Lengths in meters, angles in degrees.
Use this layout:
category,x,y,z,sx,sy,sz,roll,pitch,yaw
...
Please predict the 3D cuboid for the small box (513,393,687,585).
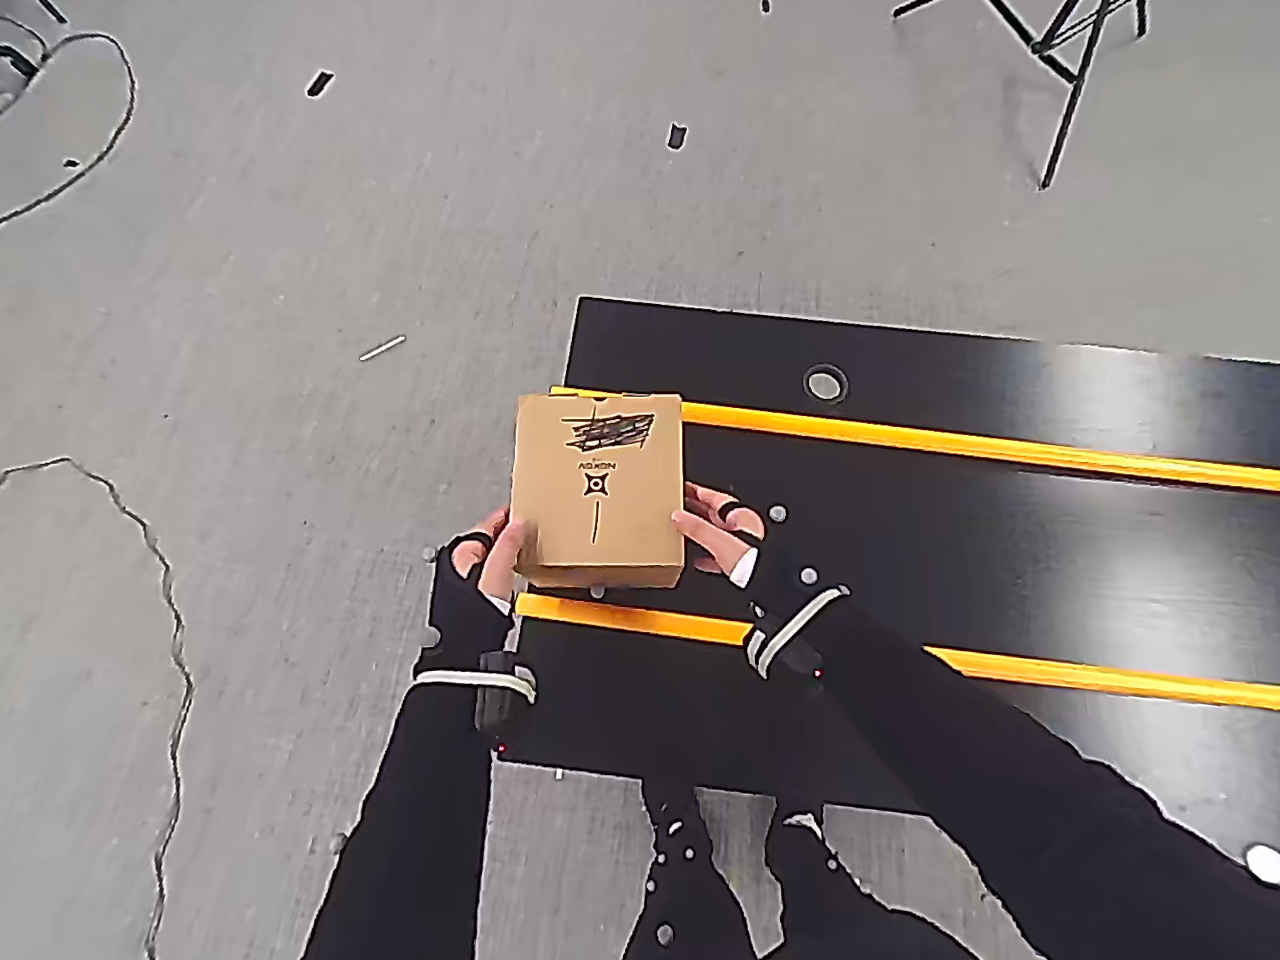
category,x,y,z,sx,sy,sz,roll,pitch,yaw
small box,-0.038,0.019,0.604,0.168,0.176,0.179,0,72,0
